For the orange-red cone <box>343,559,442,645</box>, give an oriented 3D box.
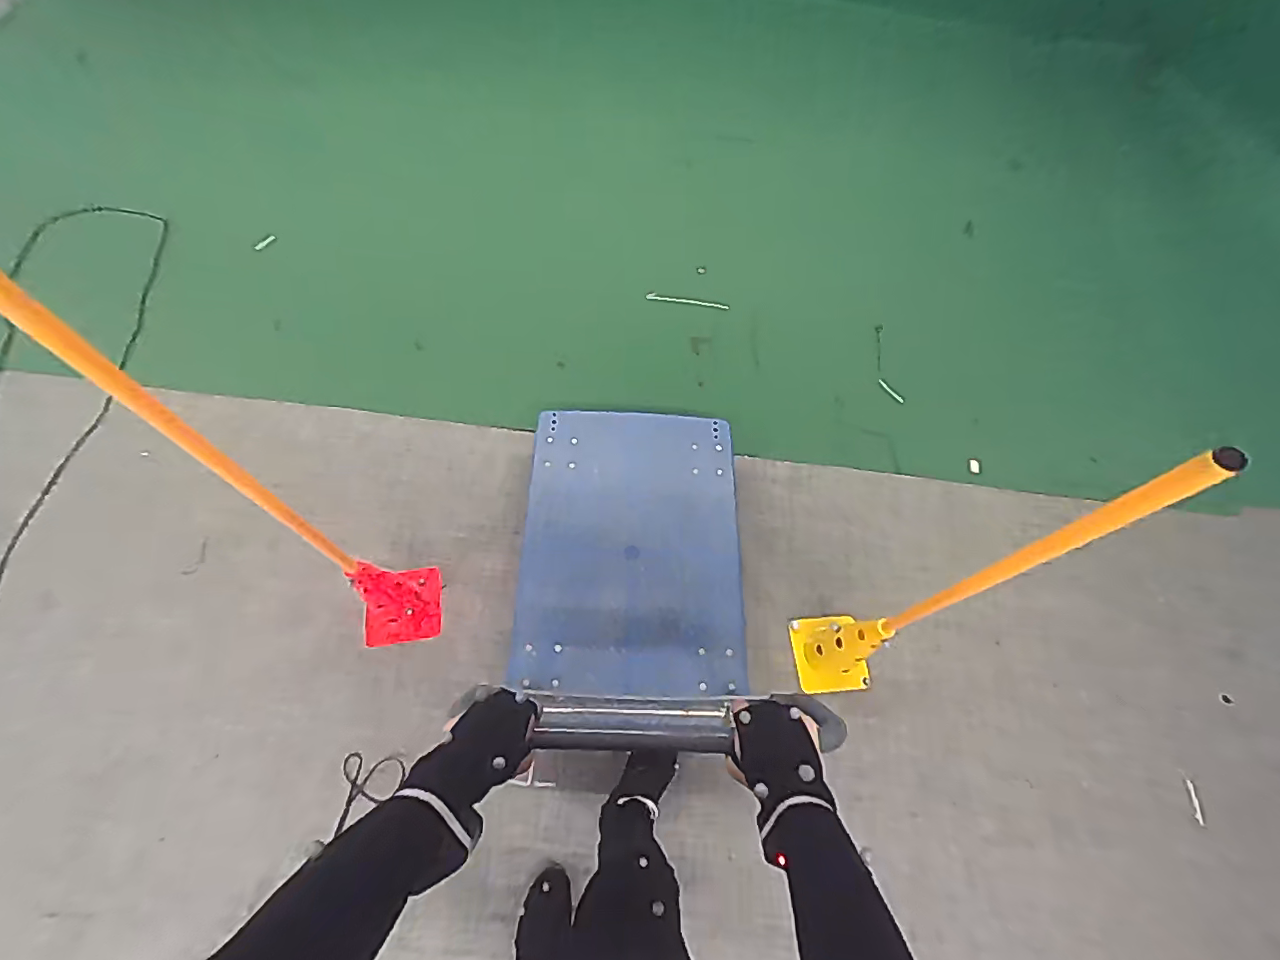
[{"bbox_3d":[-0.638,0.268,1.325,0.199,0.360,0.198,-7,64,-6],"label":"orange-red cone"}]
